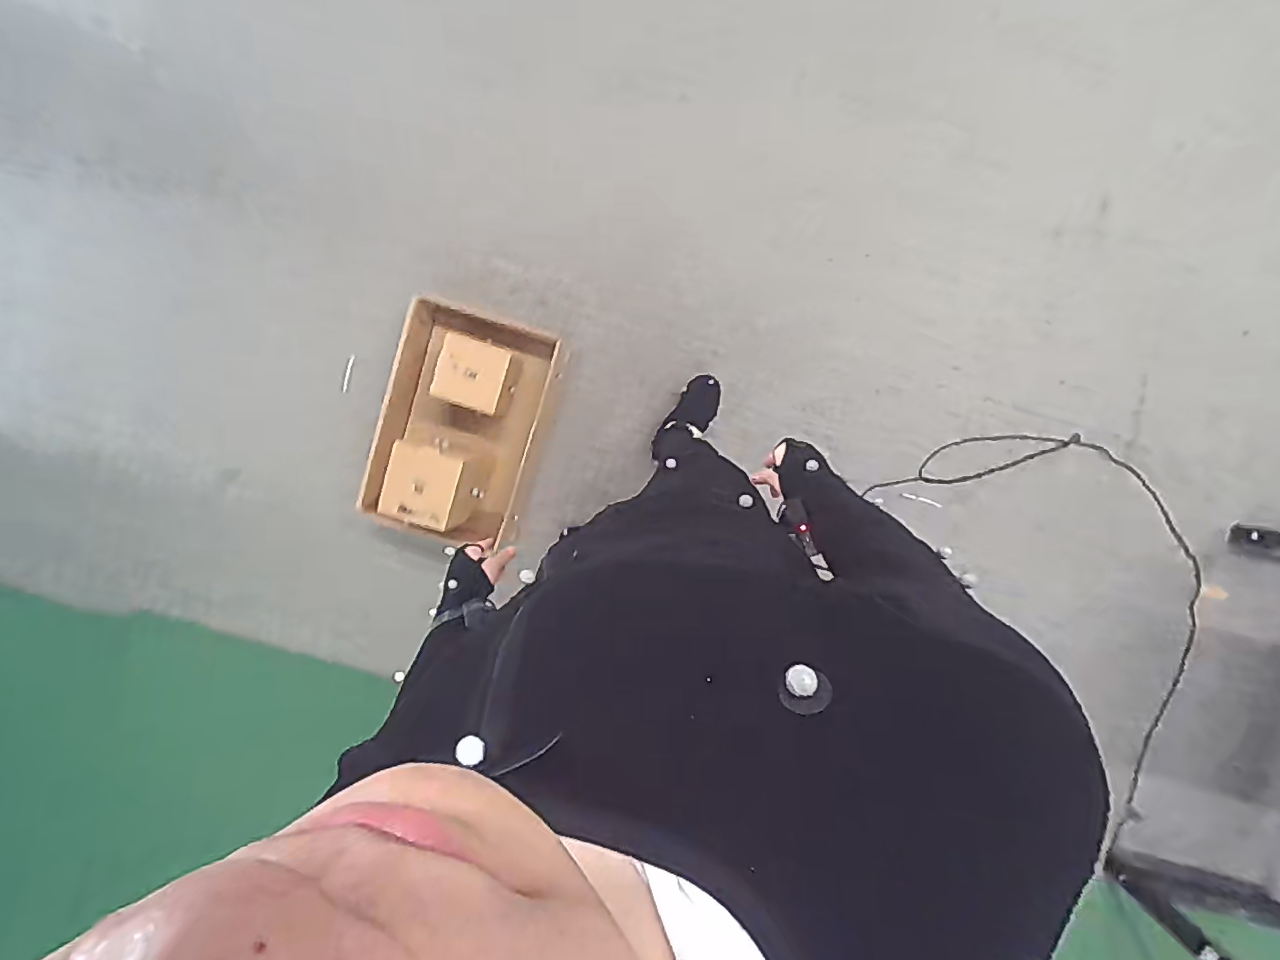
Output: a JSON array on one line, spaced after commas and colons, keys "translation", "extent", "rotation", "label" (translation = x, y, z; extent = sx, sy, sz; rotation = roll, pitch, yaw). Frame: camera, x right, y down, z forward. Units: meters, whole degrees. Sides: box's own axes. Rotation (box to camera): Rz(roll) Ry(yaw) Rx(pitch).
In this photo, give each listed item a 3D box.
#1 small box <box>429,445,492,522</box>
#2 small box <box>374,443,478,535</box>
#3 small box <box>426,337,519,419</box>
[{"translation": [-0.523, 0.003, 1.480], "extent": [0.179, 0.176, 0.168], "rotation": [17, 94, -1], "label": "small box"}, {"translation": [-0.510, 0.017, 1.316], "extent": [0.168, 0.176, 0.179], "rotation": [17, 94, -1], "label": "small box"}, {"translation": [-0.441, -0.269, 1.454], "extent": [0.179, 0.176, 0.168], "rotation": [18, 96, -2], "label": "small box"}]
